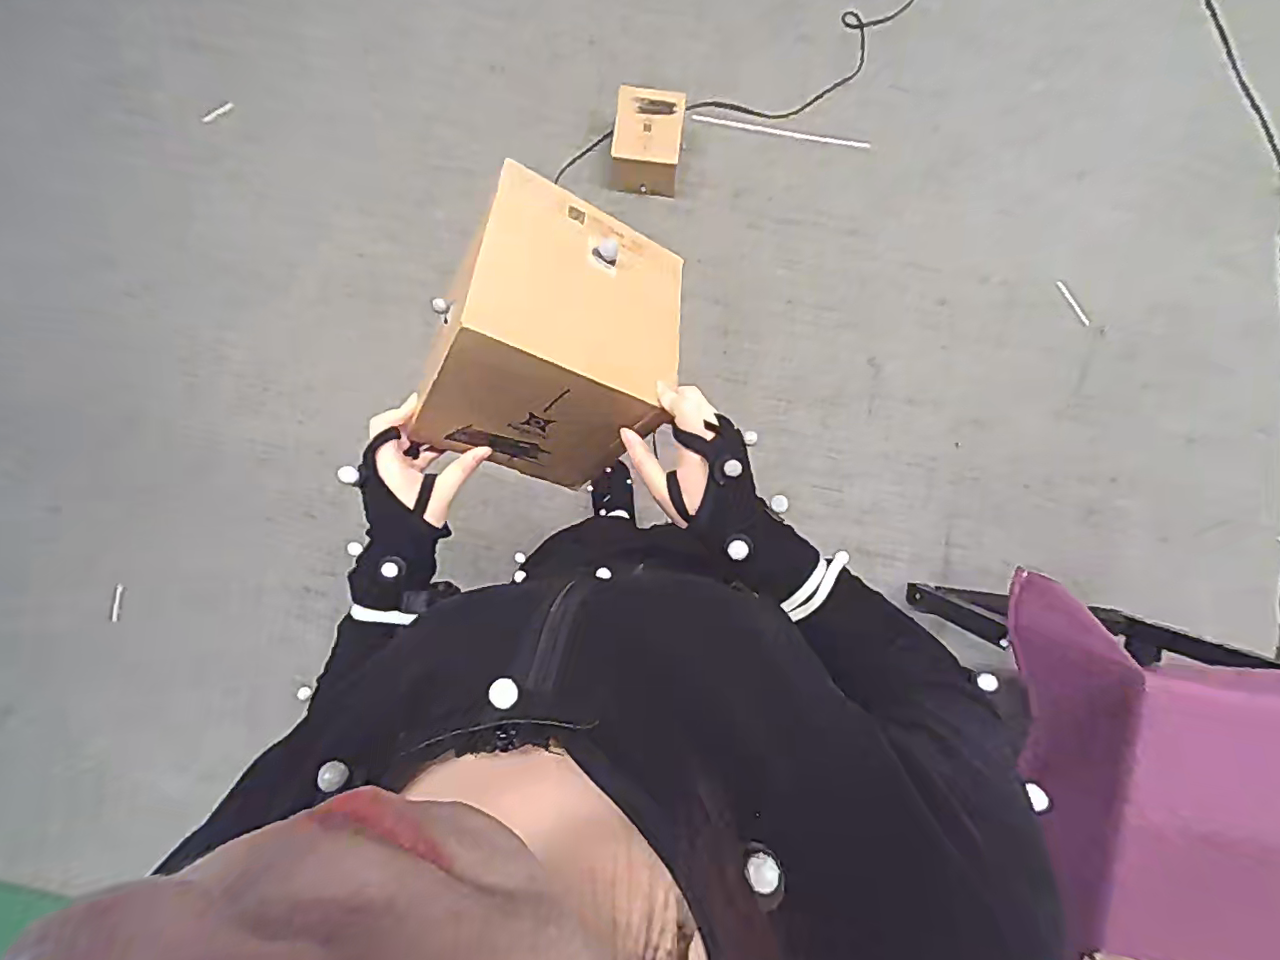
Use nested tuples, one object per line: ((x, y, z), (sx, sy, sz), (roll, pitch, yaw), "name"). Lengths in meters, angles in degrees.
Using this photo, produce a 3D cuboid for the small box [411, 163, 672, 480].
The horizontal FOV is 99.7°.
((-0.082, -0.126, 0.481), (0.168, 0.179, 0.176), (19, 59, -27), "small box")
